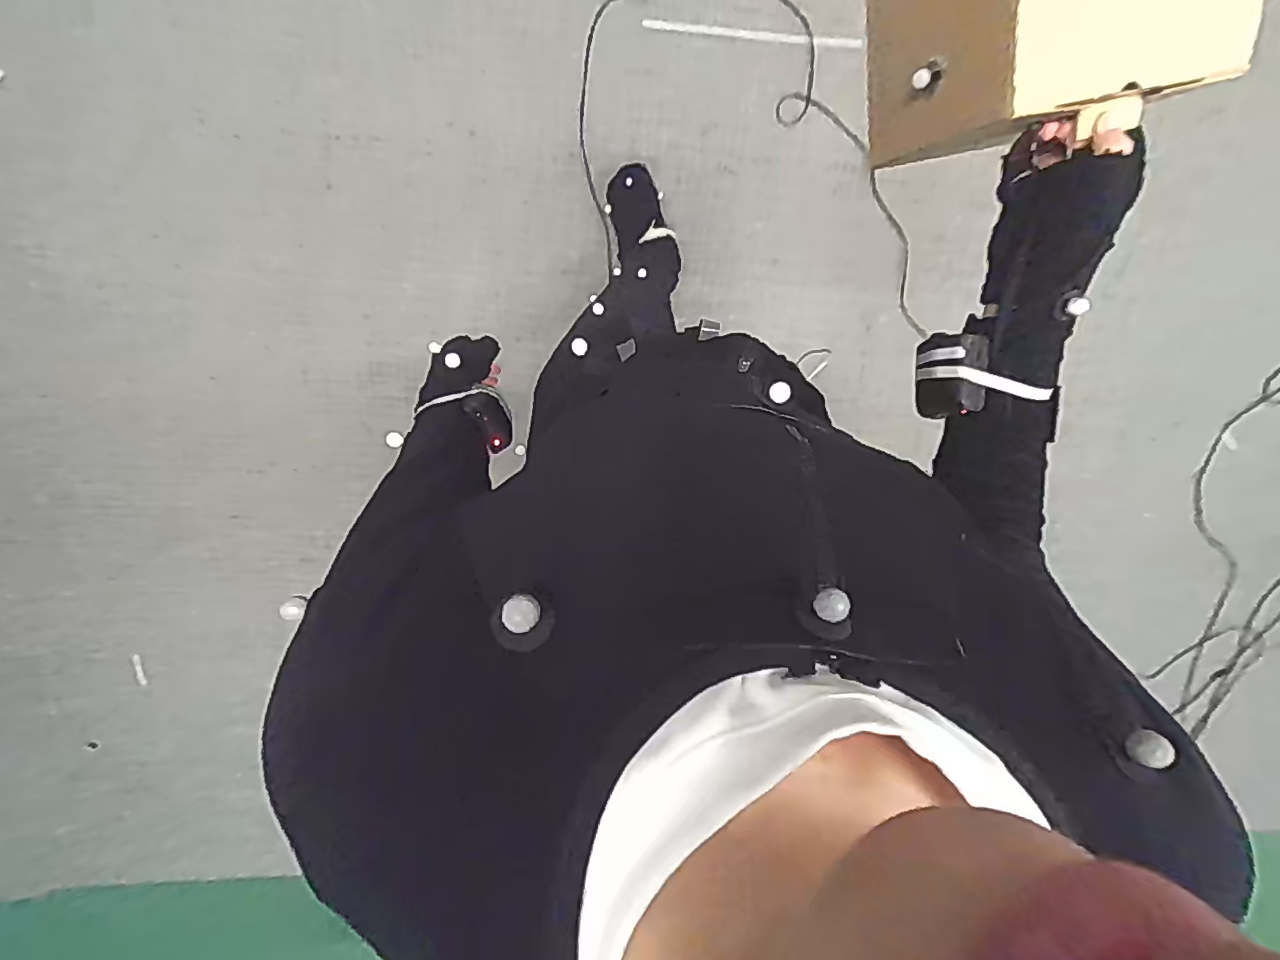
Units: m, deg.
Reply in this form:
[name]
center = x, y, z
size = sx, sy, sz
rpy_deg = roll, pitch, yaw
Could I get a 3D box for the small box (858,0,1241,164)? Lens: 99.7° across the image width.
[small box]
center = 0.275, -0.347, 0.392
size = 0.168, 0.176, 0.179
rpy_deg = -13, 111, -4
